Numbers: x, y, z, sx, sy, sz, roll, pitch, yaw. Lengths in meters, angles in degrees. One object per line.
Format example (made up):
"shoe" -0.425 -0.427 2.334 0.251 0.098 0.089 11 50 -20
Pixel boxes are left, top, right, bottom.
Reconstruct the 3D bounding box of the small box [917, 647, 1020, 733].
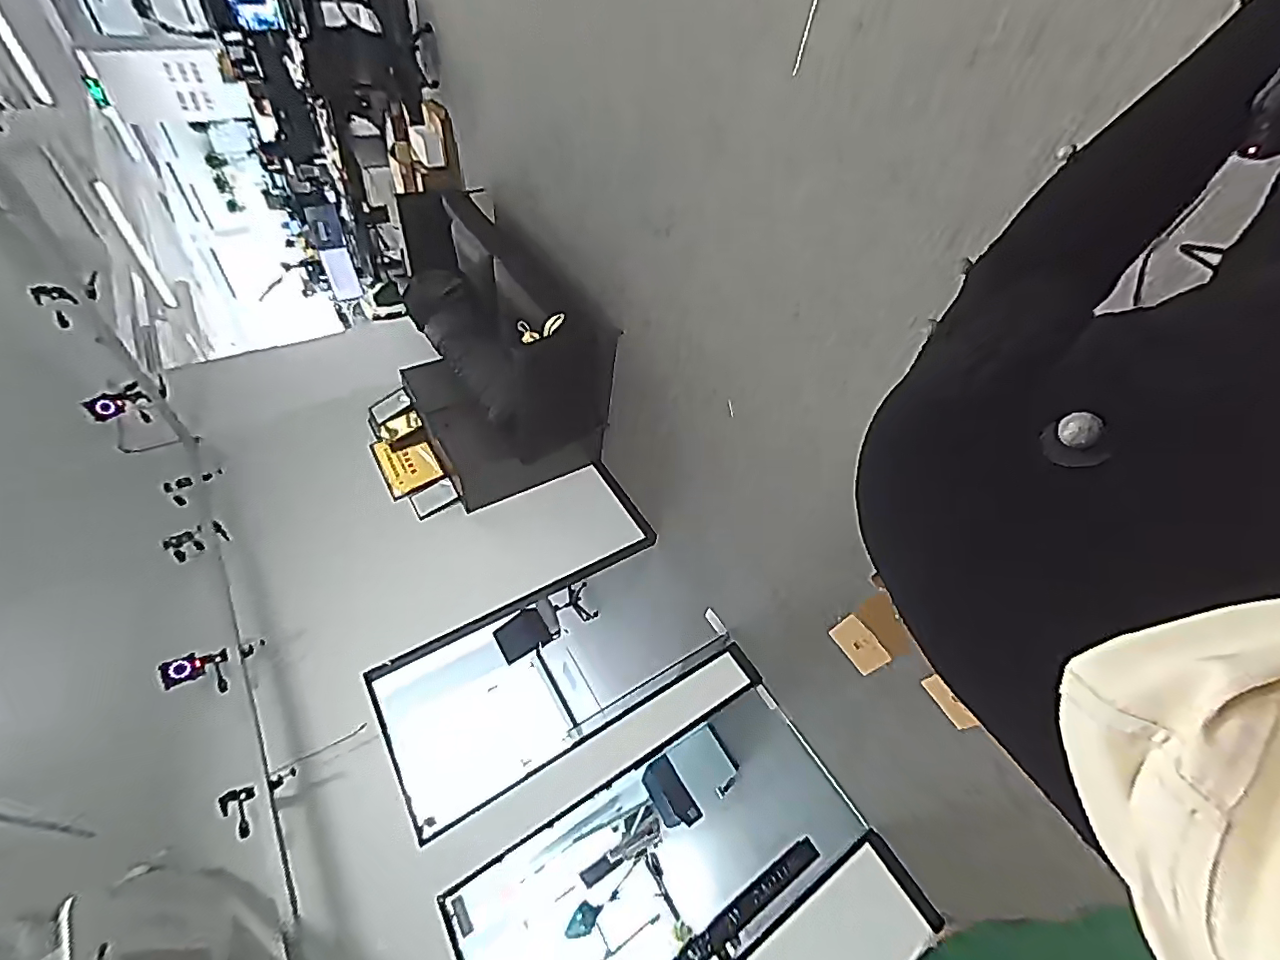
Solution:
"small box" 1.005 0.642 1.652 0.168 0.176 0.179 55 153 25

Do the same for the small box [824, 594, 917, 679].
"small box" 0.722 0.489 1.690 0.168 0.176 0.179 52 151 24

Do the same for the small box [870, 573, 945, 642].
"small box" 0.856 0.430 1.765 0.168 0.176 0.179 54 153 22
